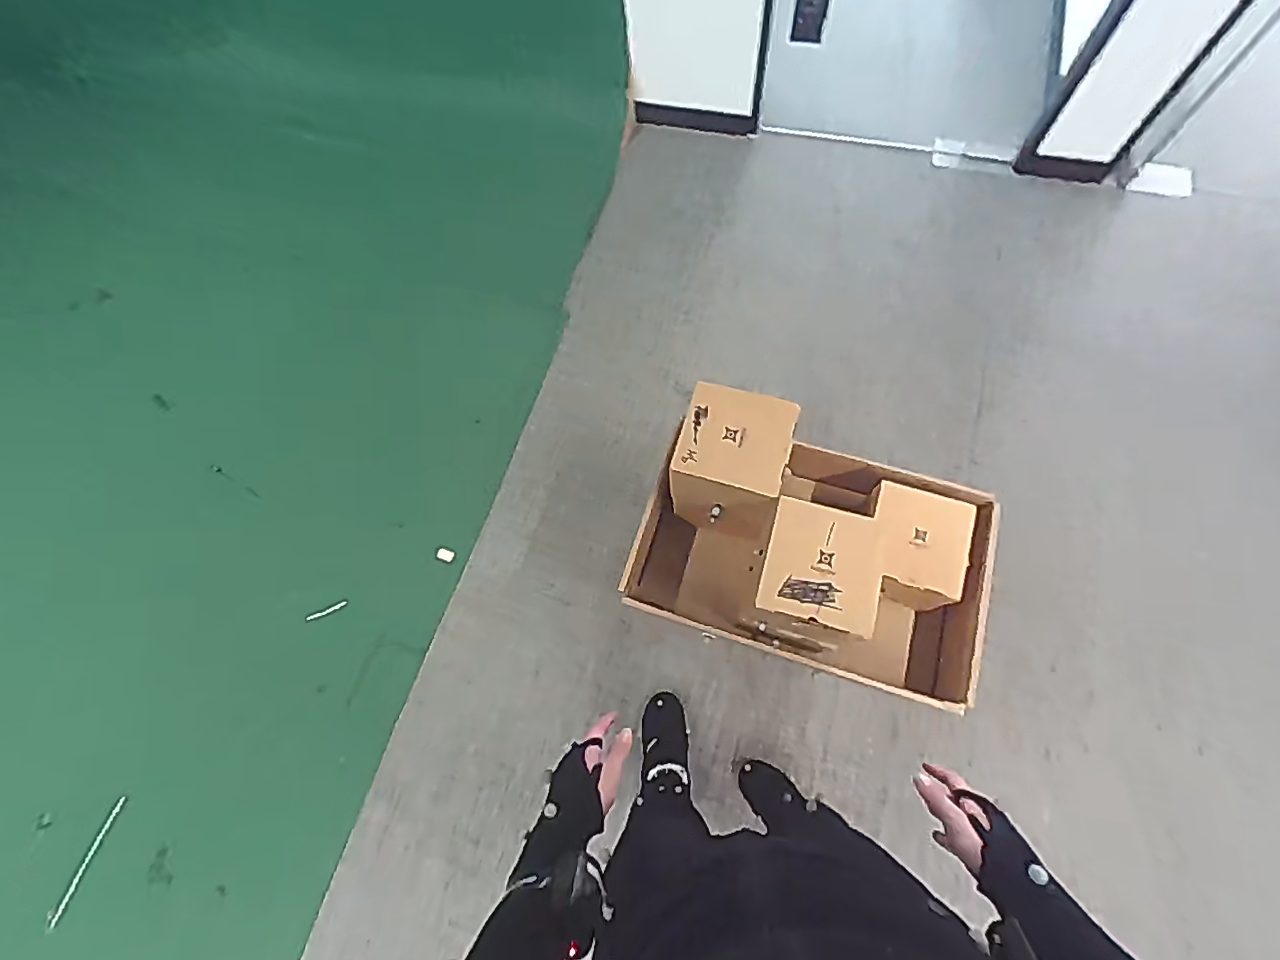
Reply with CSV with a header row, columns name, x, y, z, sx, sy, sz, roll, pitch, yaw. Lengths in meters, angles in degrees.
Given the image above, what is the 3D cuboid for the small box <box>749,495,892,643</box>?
name,x,y,z,sx,sy,sz,roll,pitch,yaw
small box,0.274,0.148,0.854,0.168,0.176,0.179,15,72,10

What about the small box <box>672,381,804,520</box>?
name,x,y,z,sx,sy,sz,roll,pitch,yaw
small box,0.163,-0.041,0.934,0.179,0.176,0.168,17,73,10
